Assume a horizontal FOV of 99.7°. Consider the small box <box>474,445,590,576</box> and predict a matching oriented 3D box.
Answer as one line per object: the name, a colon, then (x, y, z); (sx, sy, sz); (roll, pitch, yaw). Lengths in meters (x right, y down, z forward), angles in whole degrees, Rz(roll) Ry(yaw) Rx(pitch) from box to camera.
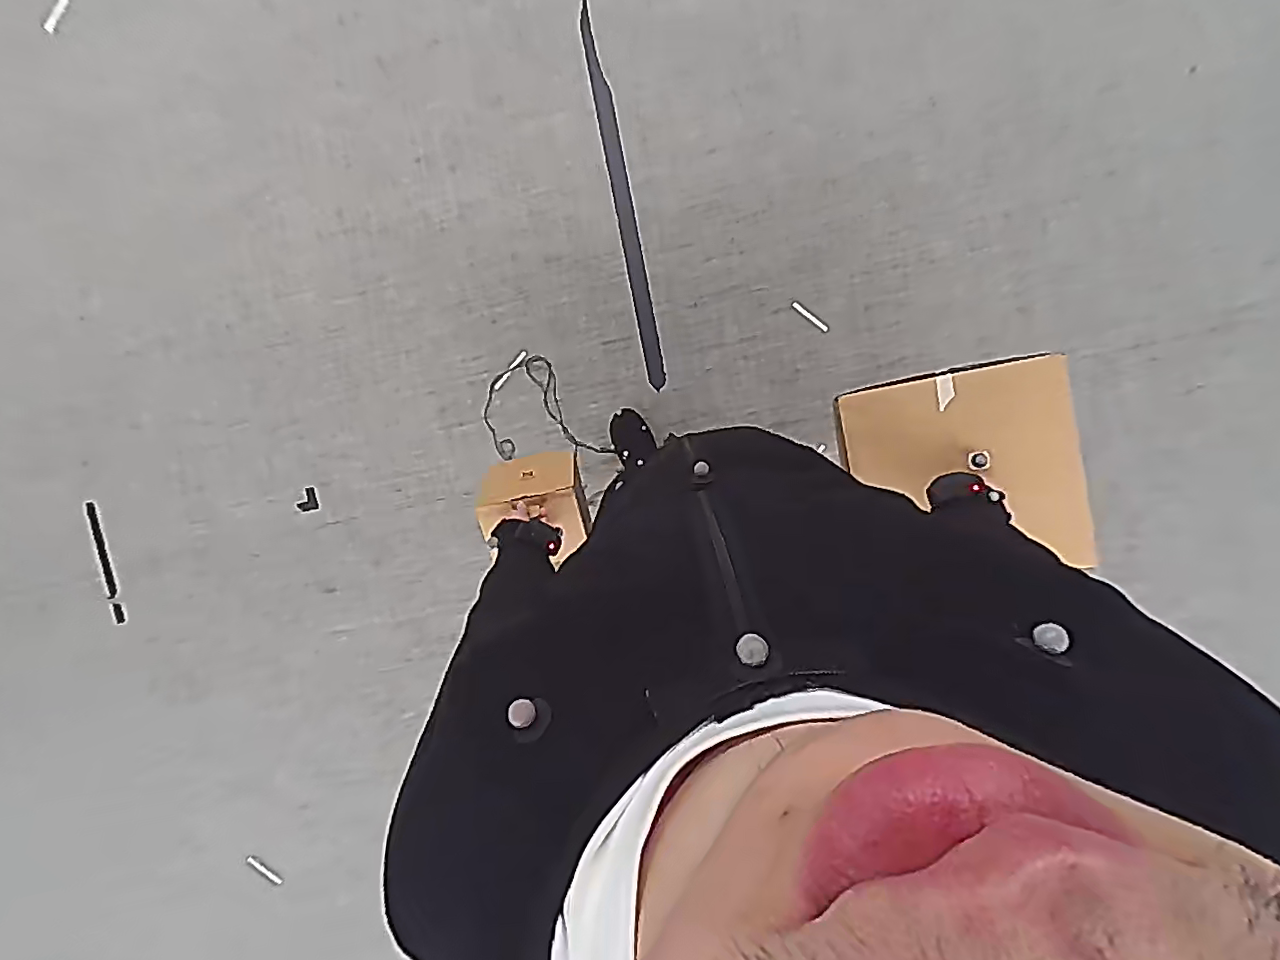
small box: (-0.188, 0.059, 0.991); (0.168, 0.179, 0.176); (-11, 117, -2)
